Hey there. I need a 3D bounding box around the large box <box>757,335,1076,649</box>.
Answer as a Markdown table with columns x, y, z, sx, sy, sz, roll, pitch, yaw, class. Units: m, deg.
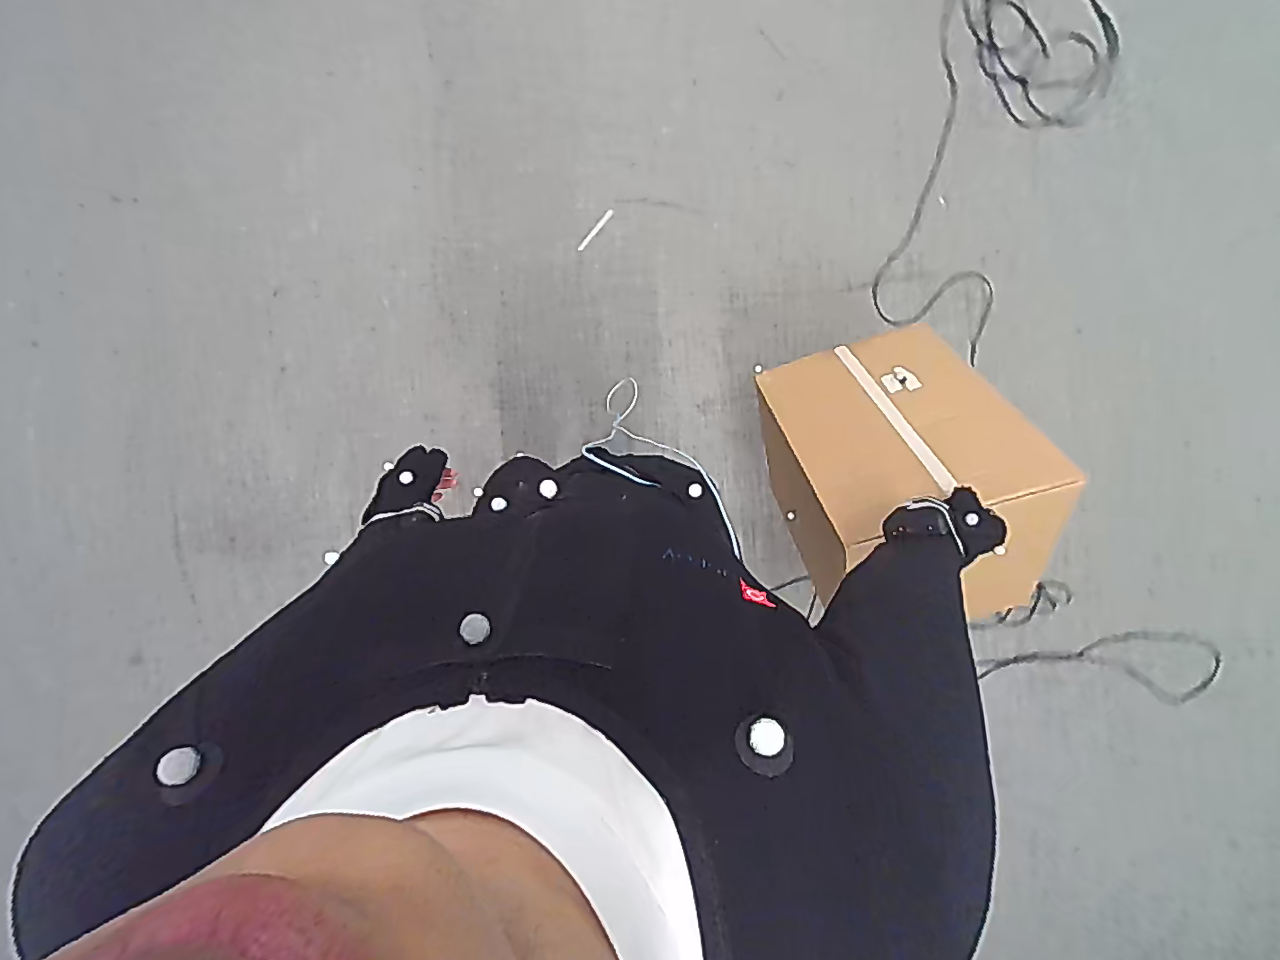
| x | y | z | sx | sy | sz | roll | pitch | yaw | class |
| --- | --- | --- | --- | --- | --- | --- | --- | --- | --- |
| 0.429 | 0.016 | 0.948 | 0.320 | 0.408 | 0.320 | -16 | 134 | 4 | large box |
